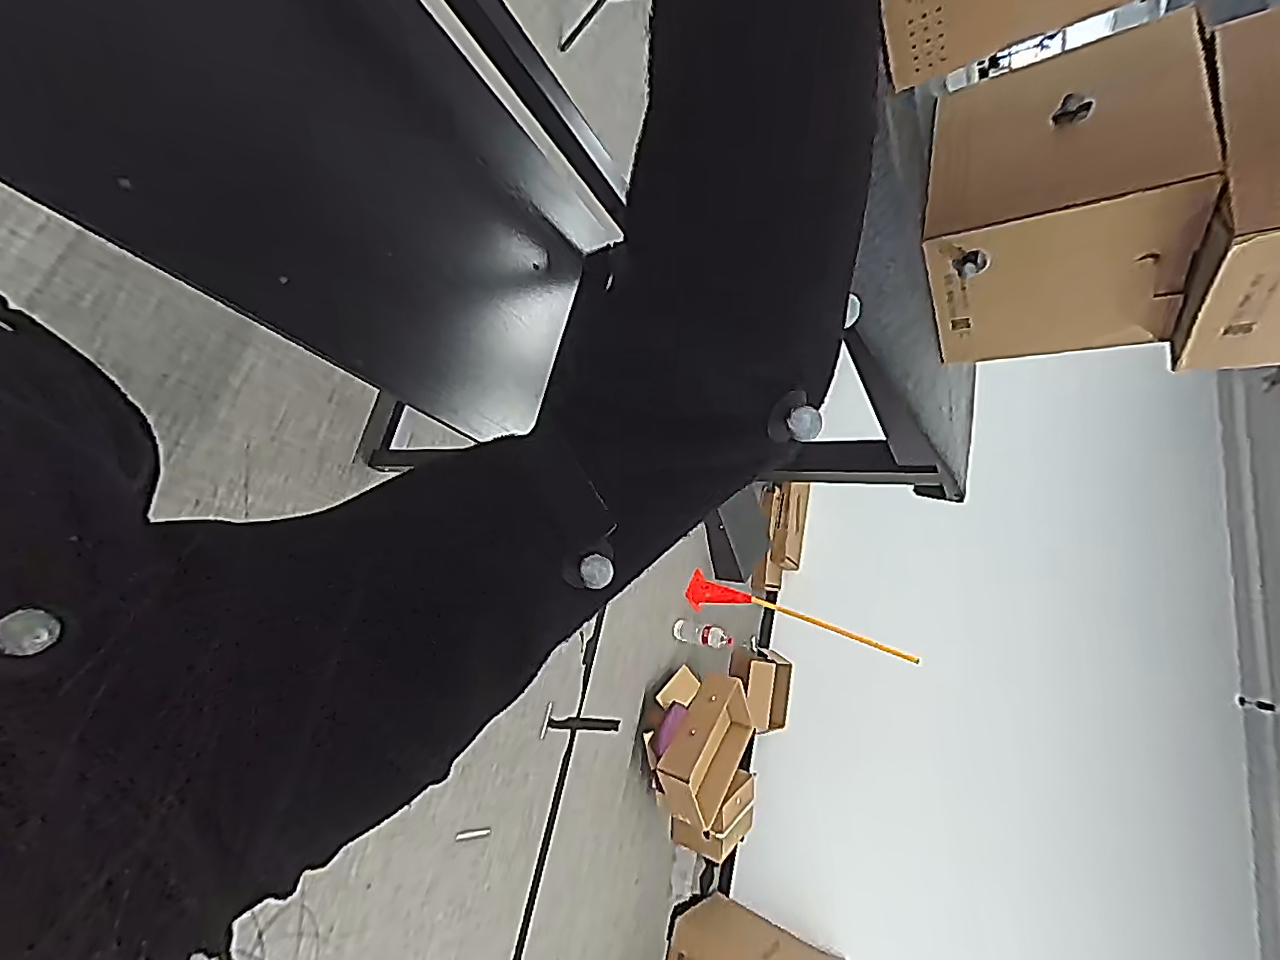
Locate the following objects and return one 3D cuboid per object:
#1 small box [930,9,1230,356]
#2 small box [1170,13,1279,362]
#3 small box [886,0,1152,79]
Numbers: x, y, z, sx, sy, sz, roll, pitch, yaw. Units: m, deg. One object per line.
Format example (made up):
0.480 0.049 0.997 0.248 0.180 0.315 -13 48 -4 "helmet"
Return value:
0.351 -0.227 0.462 0.168 0.176 0.179 40 57 -48 "small box"
0.478 -0.196 0.360 0.168 0.176 0.179 32 64 -52 "small box"
0.194 -0.331 0.229 0.168 0.176 0.179 36 60 -49 "small box"
